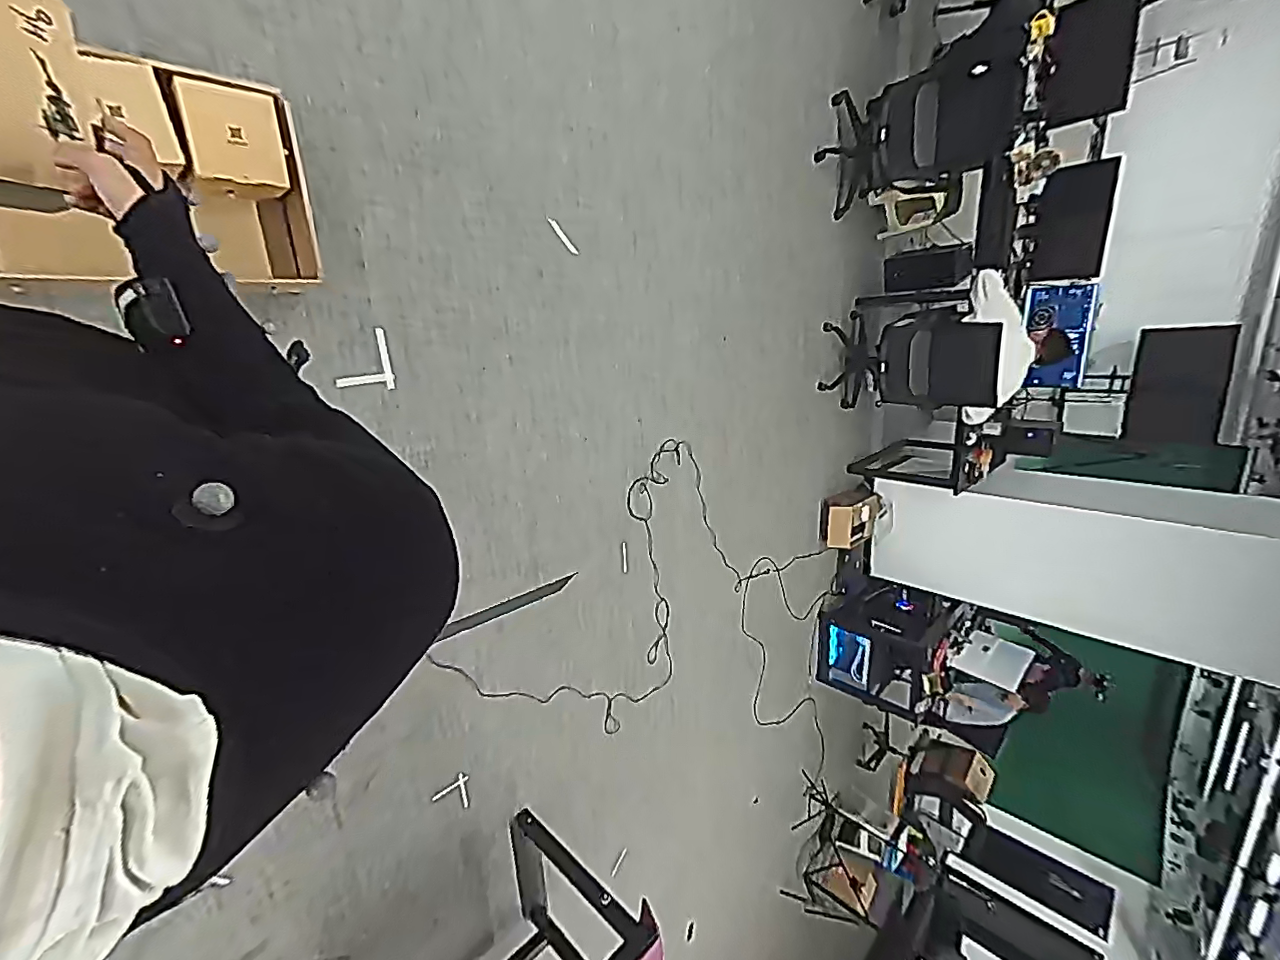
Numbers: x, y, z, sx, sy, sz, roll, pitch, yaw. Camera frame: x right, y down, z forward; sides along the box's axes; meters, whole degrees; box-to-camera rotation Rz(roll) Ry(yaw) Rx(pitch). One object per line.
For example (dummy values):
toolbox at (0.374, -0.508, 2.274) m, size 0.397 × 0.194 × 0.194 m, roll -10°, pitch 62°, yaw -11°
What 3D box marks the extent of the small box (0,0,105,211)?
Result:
small box at (-0.627, -0.345, 0.474) m, size 0.179 × 0.176 × 0.168 m, roll -20°, pitch 117°, yaw -55°
